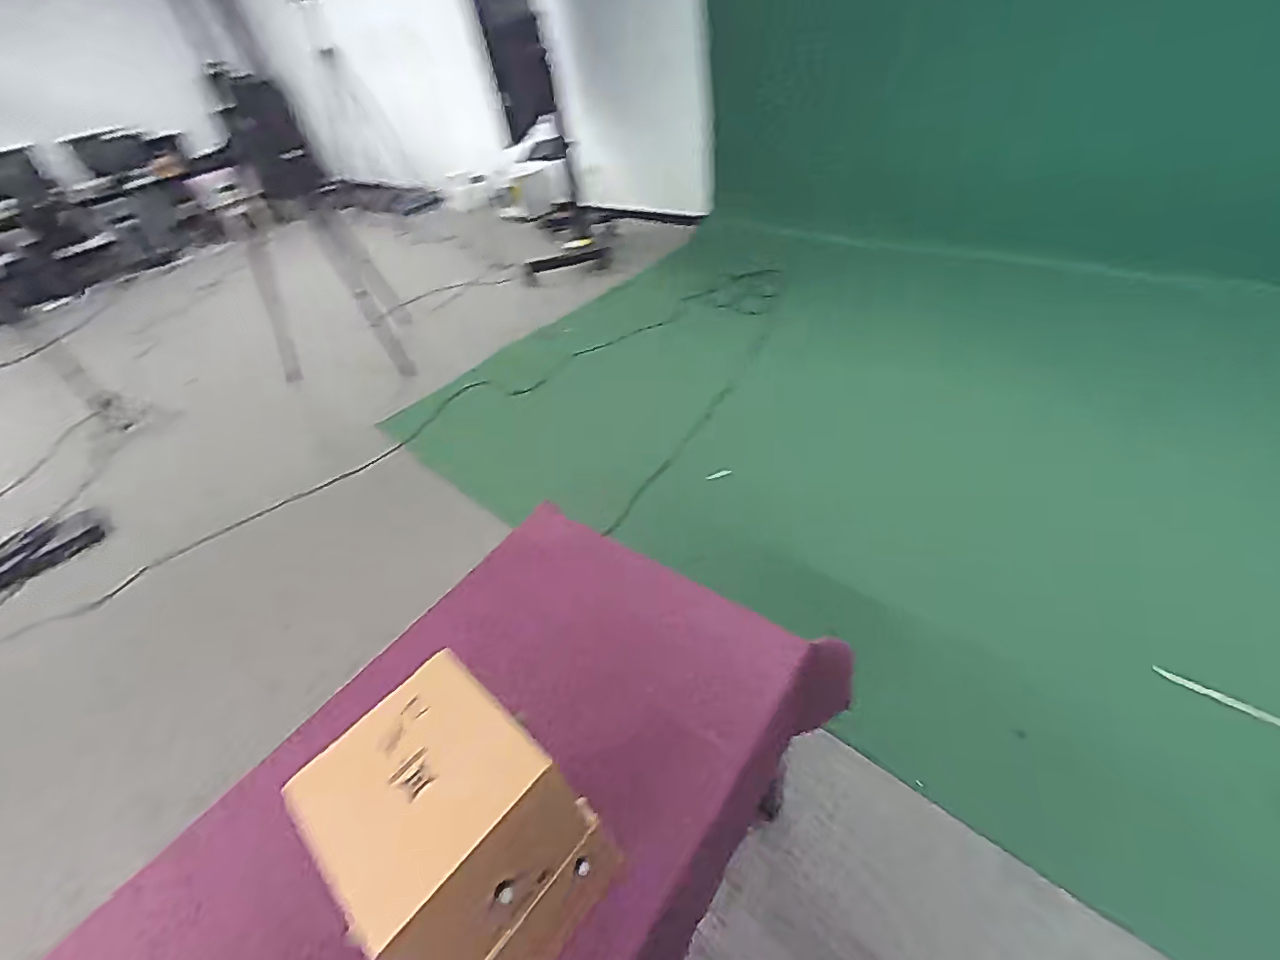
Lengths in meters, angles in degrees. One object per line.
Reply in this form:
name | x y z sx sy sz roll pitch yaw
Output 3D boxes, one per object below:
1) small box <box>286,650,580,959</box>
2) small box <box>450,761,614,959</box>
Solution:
small box | -0.181 0.306 0.513 0.179 0.176 0.168 27 54 35
small box | -0.150 0.427 0.620 0.168 0.176 0.179 25 53 34
